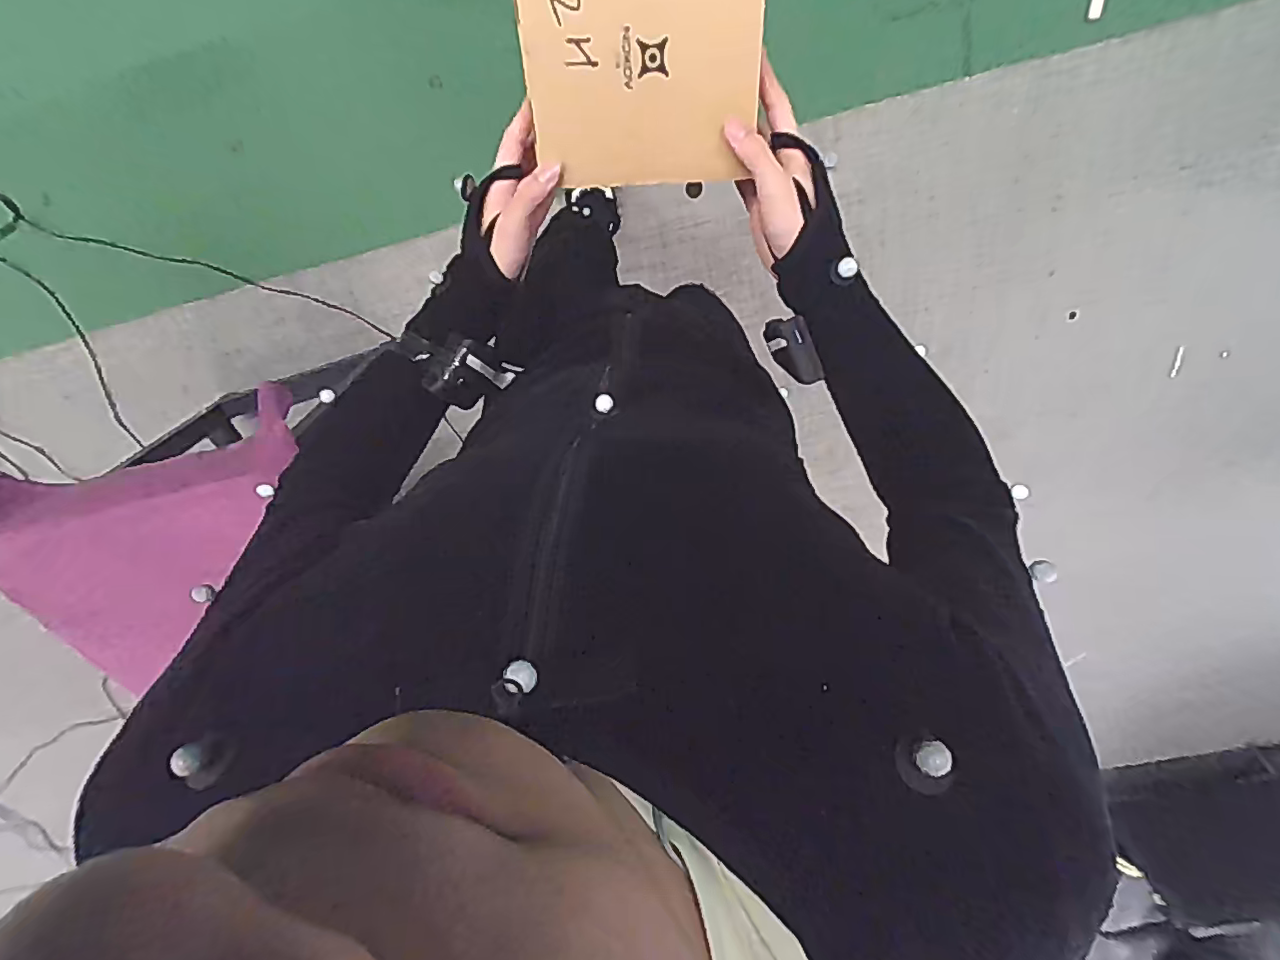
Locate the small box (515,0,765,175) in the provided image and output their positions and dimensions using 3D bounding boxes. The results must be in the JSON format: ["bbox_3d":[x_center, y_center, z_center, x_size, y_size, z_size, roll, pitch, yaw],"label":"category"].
[{"bbox_3d":[0.002,-0.362,0.450,0.179,0.176,0.168,-1,126,3],"label":"small box"}]
